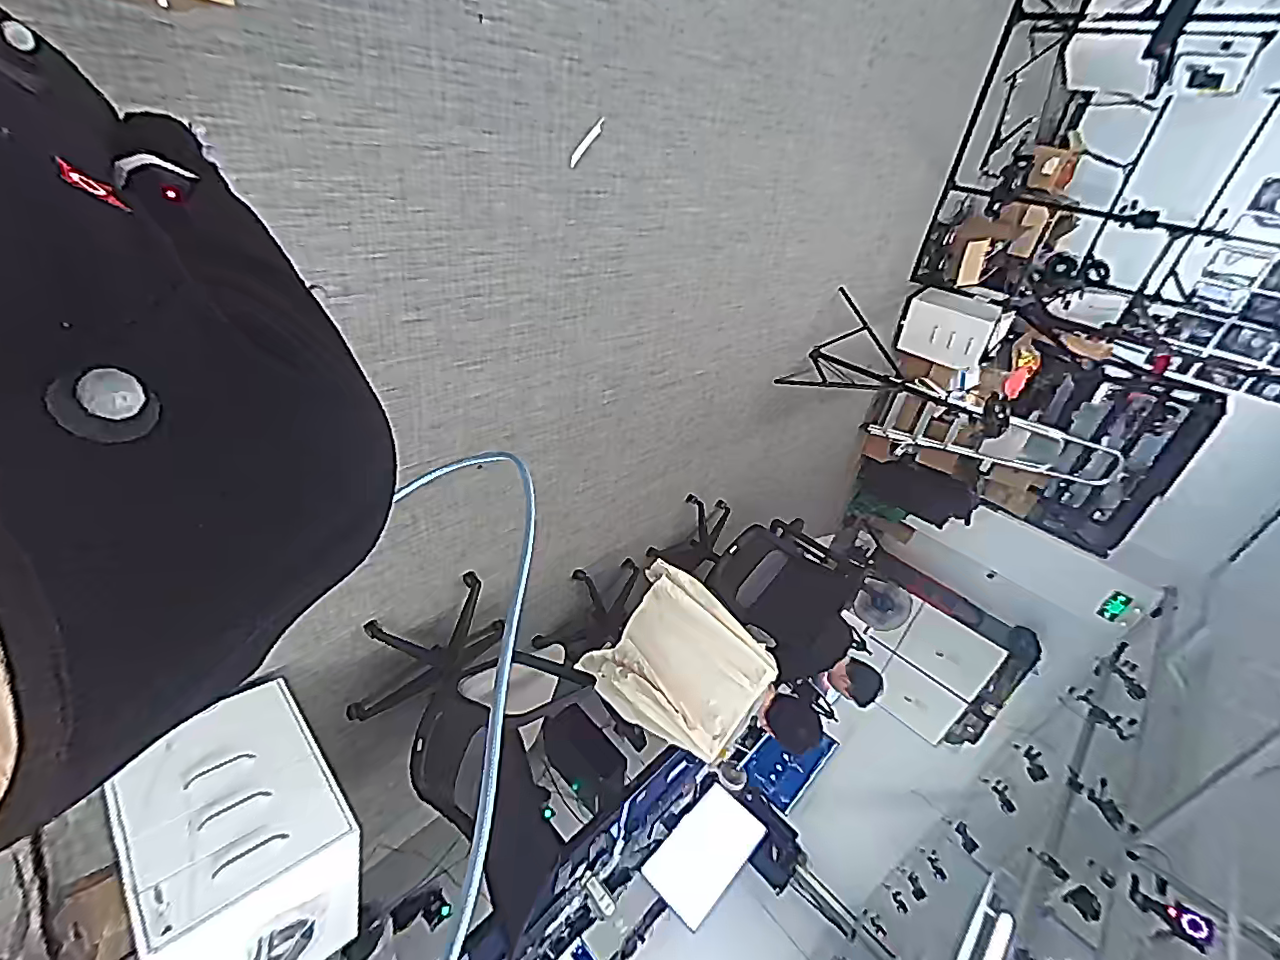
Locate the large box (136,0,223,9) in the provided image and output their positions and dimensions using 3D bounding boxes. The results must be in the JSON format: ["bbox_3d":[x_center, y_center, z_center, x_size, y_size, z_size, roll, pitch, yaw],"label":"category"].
[{"bbox_3d":[-0.780,-0.783,0.605,0.408,0.320,0.320,-21,132,-43],"label":"large box"}]
